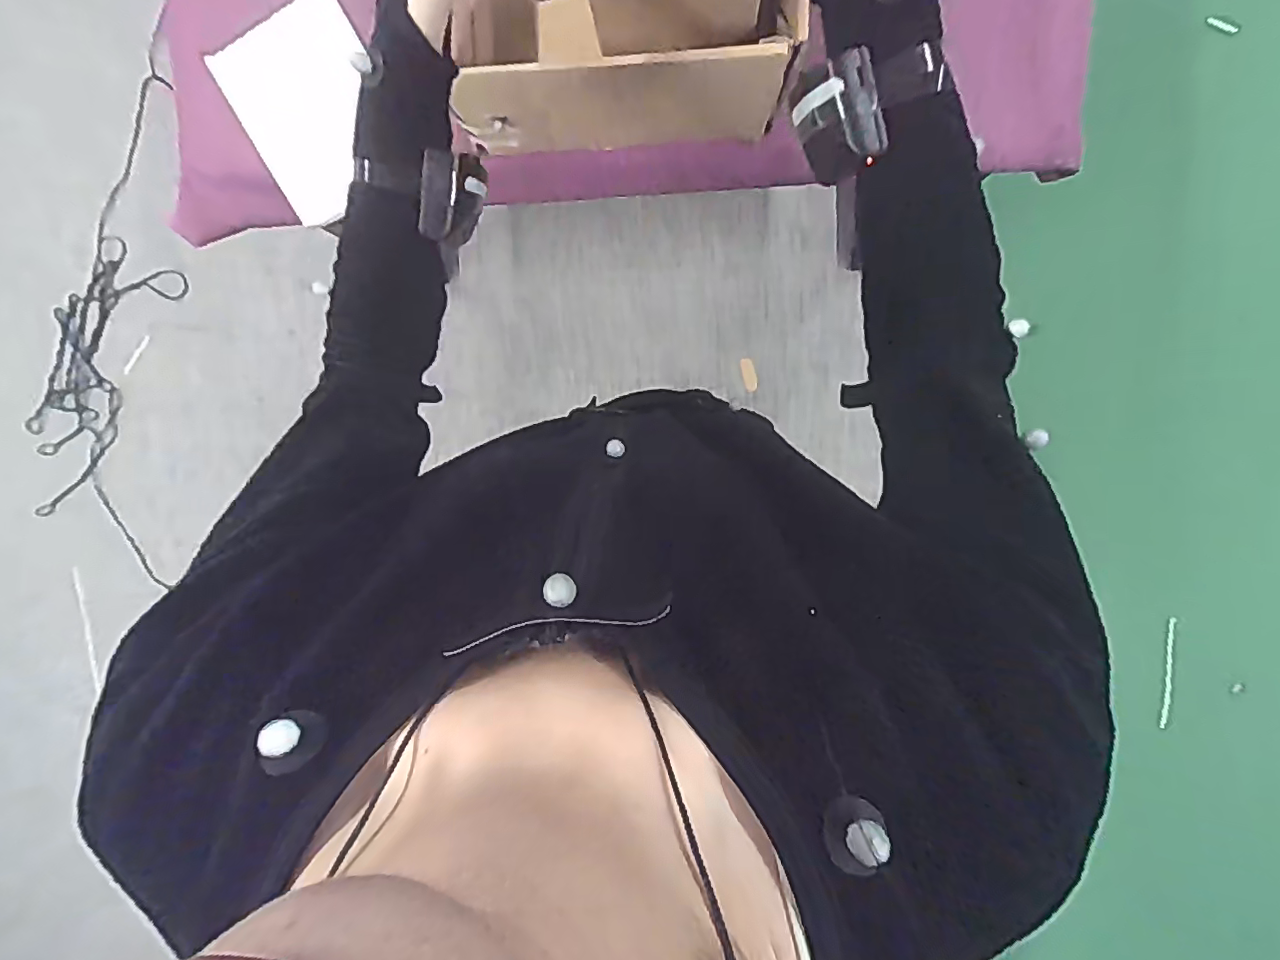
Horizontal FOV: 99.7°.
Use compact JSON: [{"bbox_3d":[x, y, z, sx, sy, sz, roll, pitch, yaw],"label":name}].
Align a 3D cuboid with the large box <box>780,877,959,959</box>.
[{"bbox_3d":[0.635,1.356,1.441,0.408,0.320,0.320,-16,95,4],"label":"large box"}]
